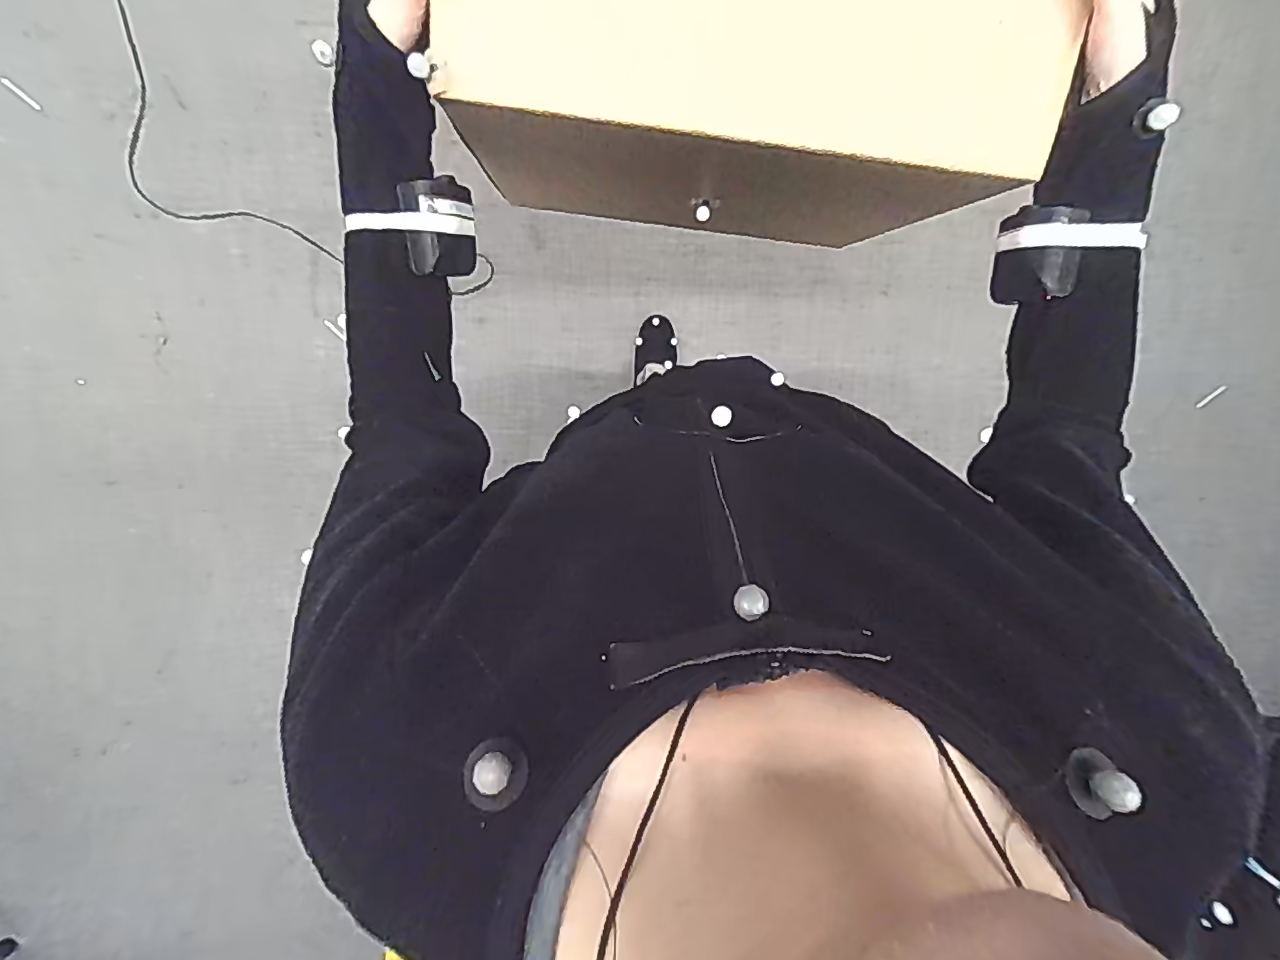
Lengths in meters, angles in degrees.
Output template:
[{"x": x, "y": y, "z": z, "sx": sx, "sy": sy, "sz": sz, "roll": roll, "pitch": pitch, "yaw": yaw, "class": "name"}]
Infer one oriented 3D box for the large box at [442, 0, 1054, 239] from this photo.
[{"x": 0.075, "y": -0.413, "z": 0.472, "sx": 0.408, "sy": 0.320, "sz": 0.320, "roll": 5, "pitch": 105, "yaw": -6, "class": "large box"}]
